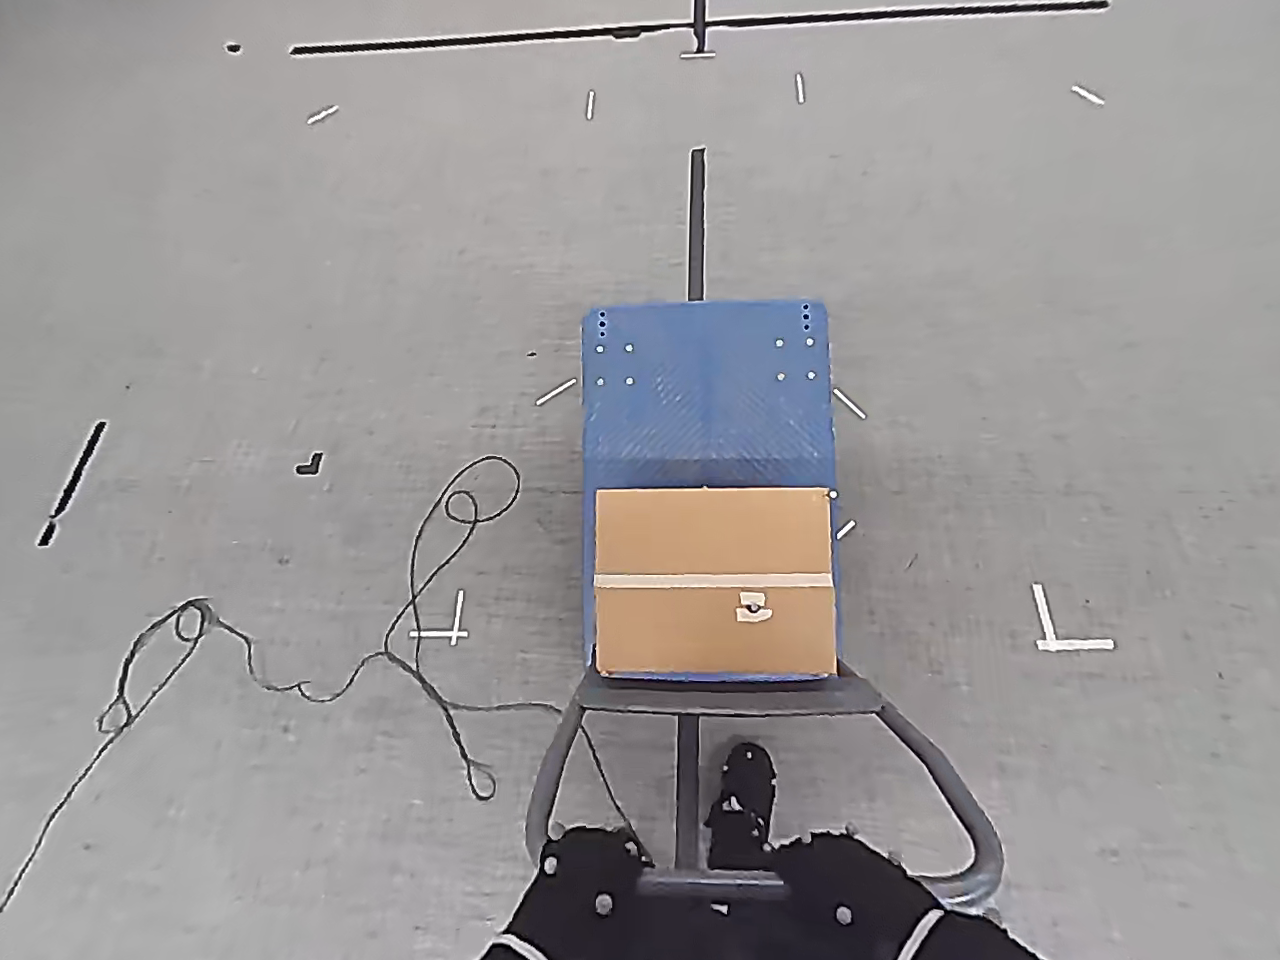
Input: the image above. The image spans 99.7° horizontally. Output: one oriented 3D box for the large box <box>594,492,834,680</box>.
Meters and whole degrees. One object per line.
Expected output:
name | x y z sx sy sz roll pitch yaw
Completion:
large box | 0.127 0.194 1.066 0.408 0.320 0.320 -1 85 2
